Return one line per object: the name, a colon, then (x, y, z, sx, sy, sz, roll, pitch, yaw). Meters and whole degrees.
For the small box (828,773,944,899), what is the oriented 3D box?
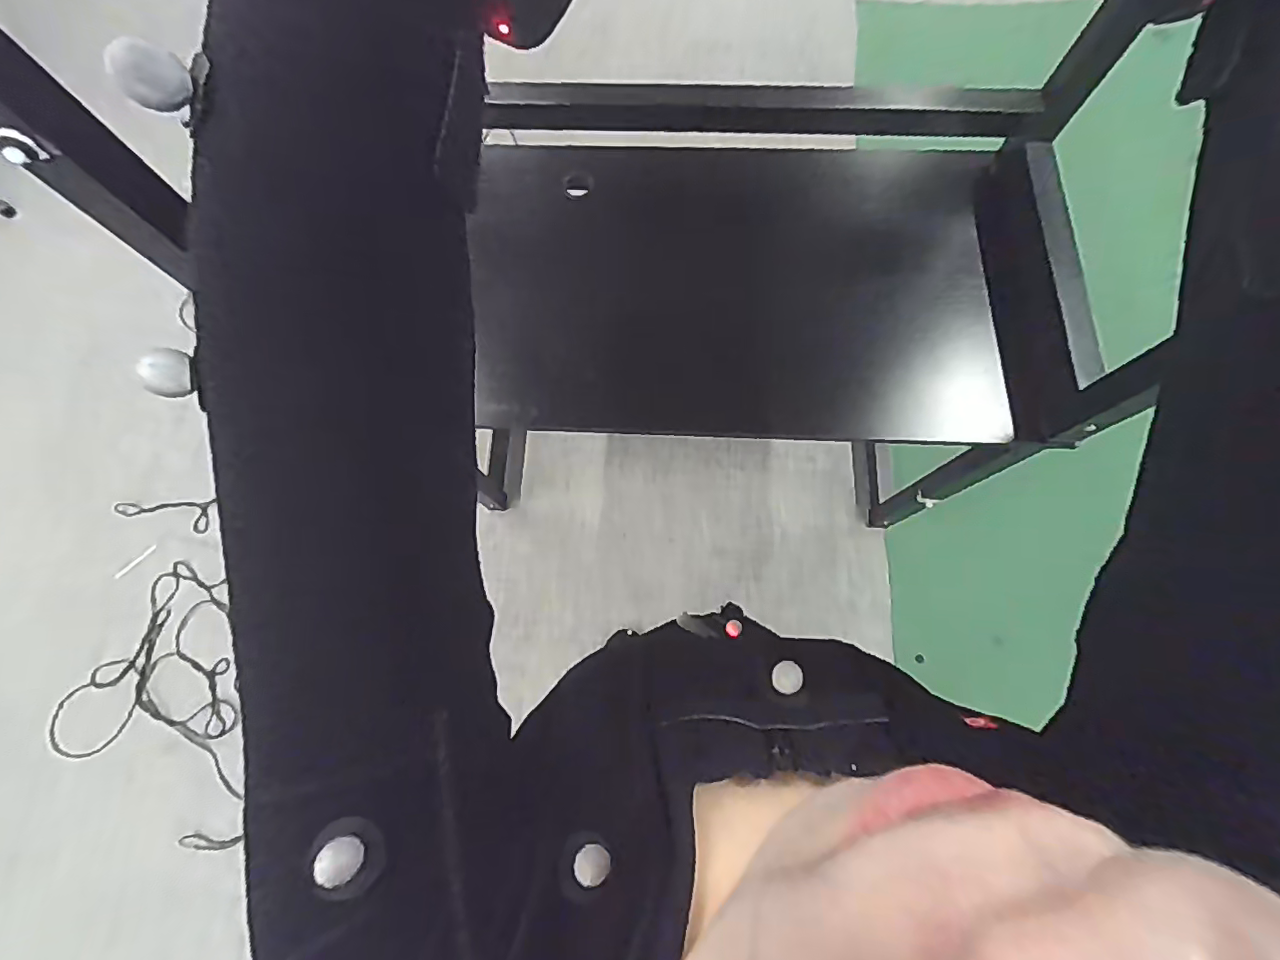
small box: (0.506, 0.730, 1.131, 0.179, 0.176, 0.168, 9, 74, 5)
